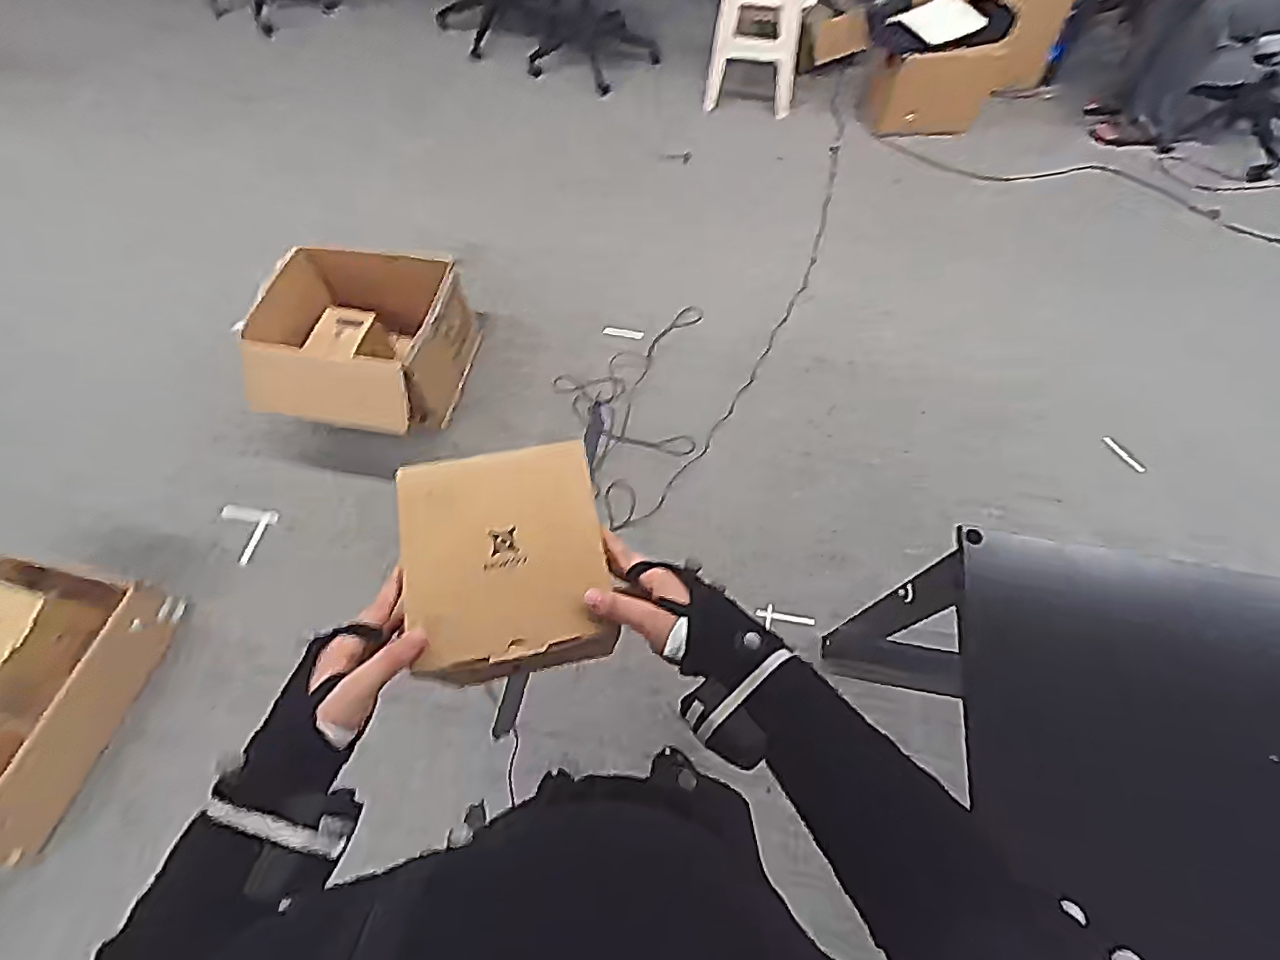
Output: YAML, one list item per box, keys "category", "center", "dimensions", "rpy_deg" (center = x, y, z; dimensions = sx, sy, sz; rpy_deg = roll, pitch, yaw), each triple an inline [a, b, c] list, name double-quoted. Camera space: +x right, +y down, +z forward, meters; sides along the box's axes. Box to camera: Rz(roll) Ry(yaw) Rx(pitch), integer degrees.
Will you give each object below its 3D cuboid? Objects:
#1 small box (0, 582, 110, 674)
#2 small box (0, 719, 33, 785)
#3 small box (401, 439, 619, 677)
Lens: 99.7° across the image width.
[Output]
- category: "small box"
  center: [-1.476, 0.365, 1.316]
  dimensions: [0.179, 0.176, 0.168]
  rpy_deg: [15, 65, 6]
- category: "small box"
  center: [-1.530, 0.619, 1.187]
  dimensions: [0.168, 0.176, 0.179]
  rpy_deg: [12, 62, 4]
- category: "small box"
  center: [-0.121, 0.083, 0.527]
  dimensions: [0.168, 0.176, 0.179]
  rpy_deg: [-10, 69, -9]
